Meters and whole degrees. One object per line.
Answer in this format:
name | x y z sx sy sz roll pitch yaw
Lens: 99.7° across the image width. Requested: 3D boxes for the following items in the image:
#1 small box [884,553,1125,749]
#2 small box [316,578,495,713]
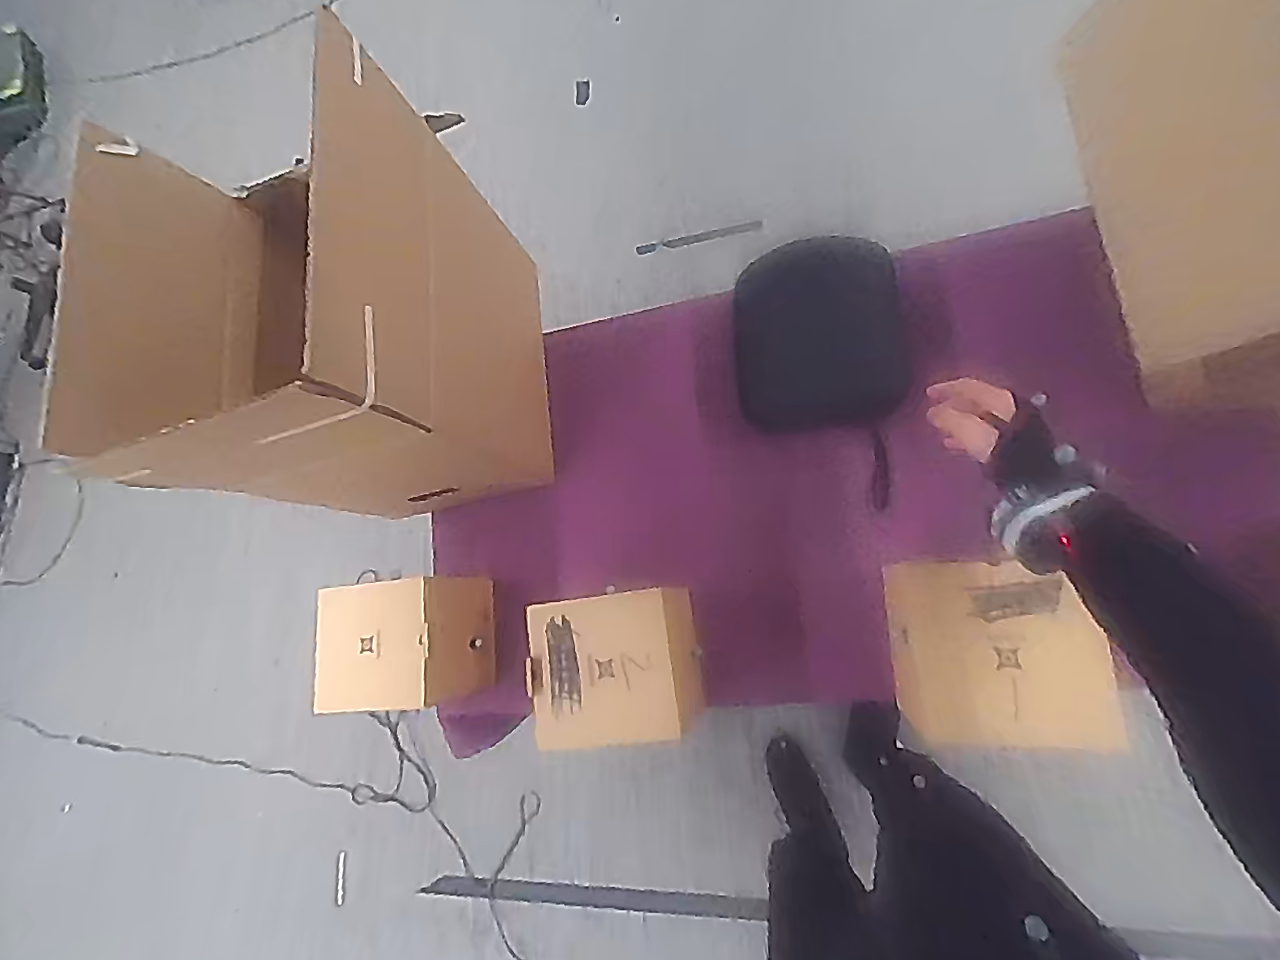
small box | 0.375 0.177 0.595 0.168 0.176 0.179 -5 78 16
small box | -0.333 0.237 0.792 0.179 0.176 0.168 -9 76 13
